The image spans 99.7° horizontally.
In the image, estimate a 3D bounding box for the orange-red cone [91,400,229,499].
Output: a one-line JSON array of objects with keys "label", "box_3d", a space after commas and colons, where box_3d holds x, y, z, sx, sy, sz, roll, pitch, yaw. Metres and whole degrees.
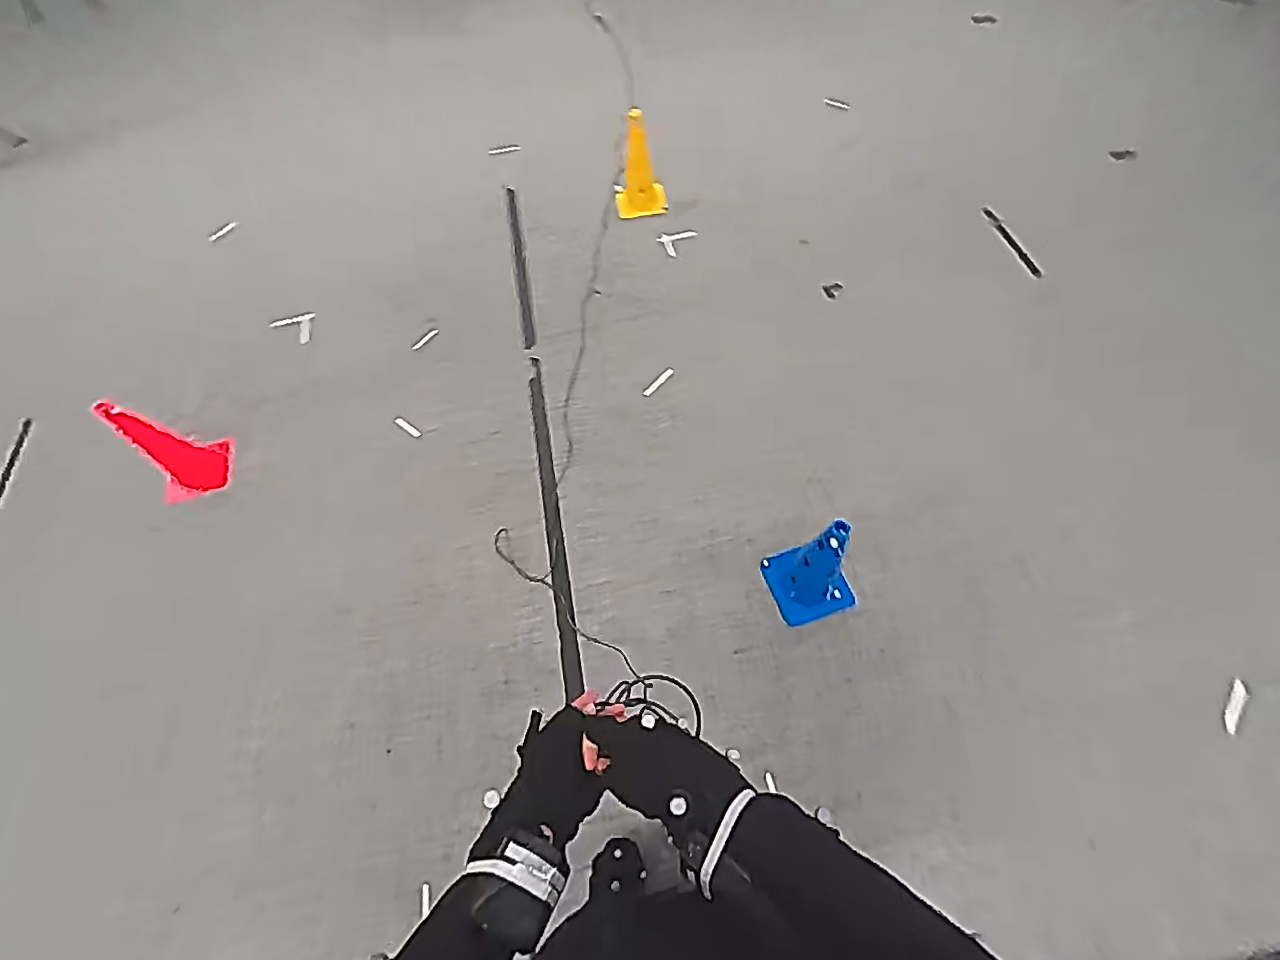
[{"label": "orange-red cone", "box_3d": [-1.477, -0.122, 1.640, 0.198, 0.360, 0.199, -17, 62, -4]}]

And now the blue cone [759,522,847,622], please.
[{"label": "blue cone", "box_3d": [0.427, 0.190, 1.305, 0.192, 0.380, 0.193, -17, 61, -4]}]
